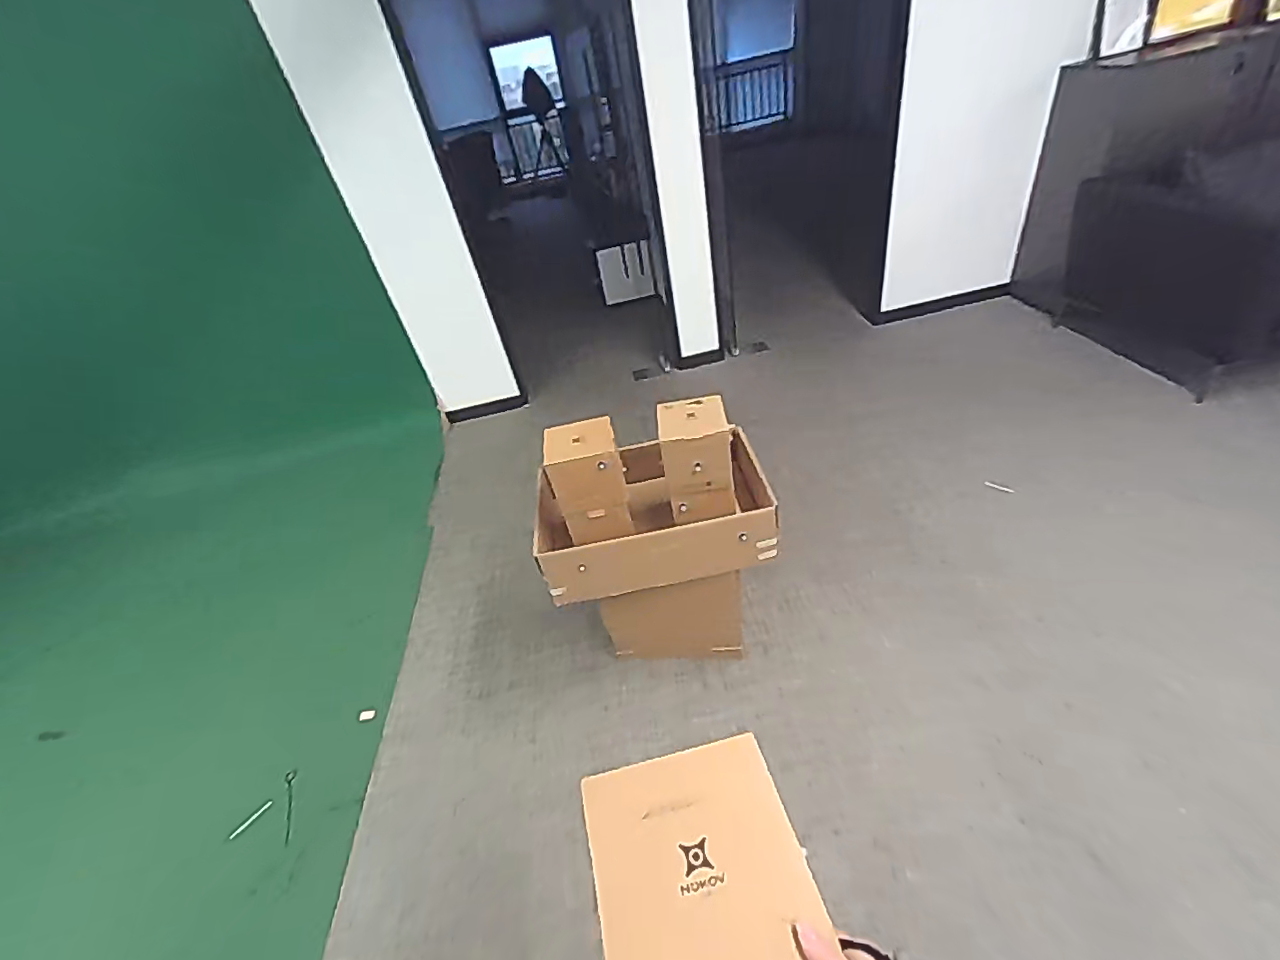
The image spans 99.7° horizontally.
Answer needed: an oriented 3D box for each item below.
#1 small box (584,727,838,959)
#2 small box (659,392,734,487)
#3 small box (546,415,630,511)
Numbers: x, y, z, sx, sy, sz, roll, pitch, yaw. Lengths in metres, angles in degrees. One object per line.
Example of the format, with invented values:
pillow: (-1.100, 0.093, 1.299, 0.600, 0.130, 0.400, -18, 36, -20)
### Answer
small box: (0.052, 0.361, 0.481, 0.168, 0.176, 0.179, -11, 38, -7)
small box: (0.143, -0.097, 1.374, 0.168, 0.176, 0.179, -9, 39, 7)
small box: (-0.133, -0.040, 1.392, 0.179, 0.176, 0.168, -12, 38, 0)
